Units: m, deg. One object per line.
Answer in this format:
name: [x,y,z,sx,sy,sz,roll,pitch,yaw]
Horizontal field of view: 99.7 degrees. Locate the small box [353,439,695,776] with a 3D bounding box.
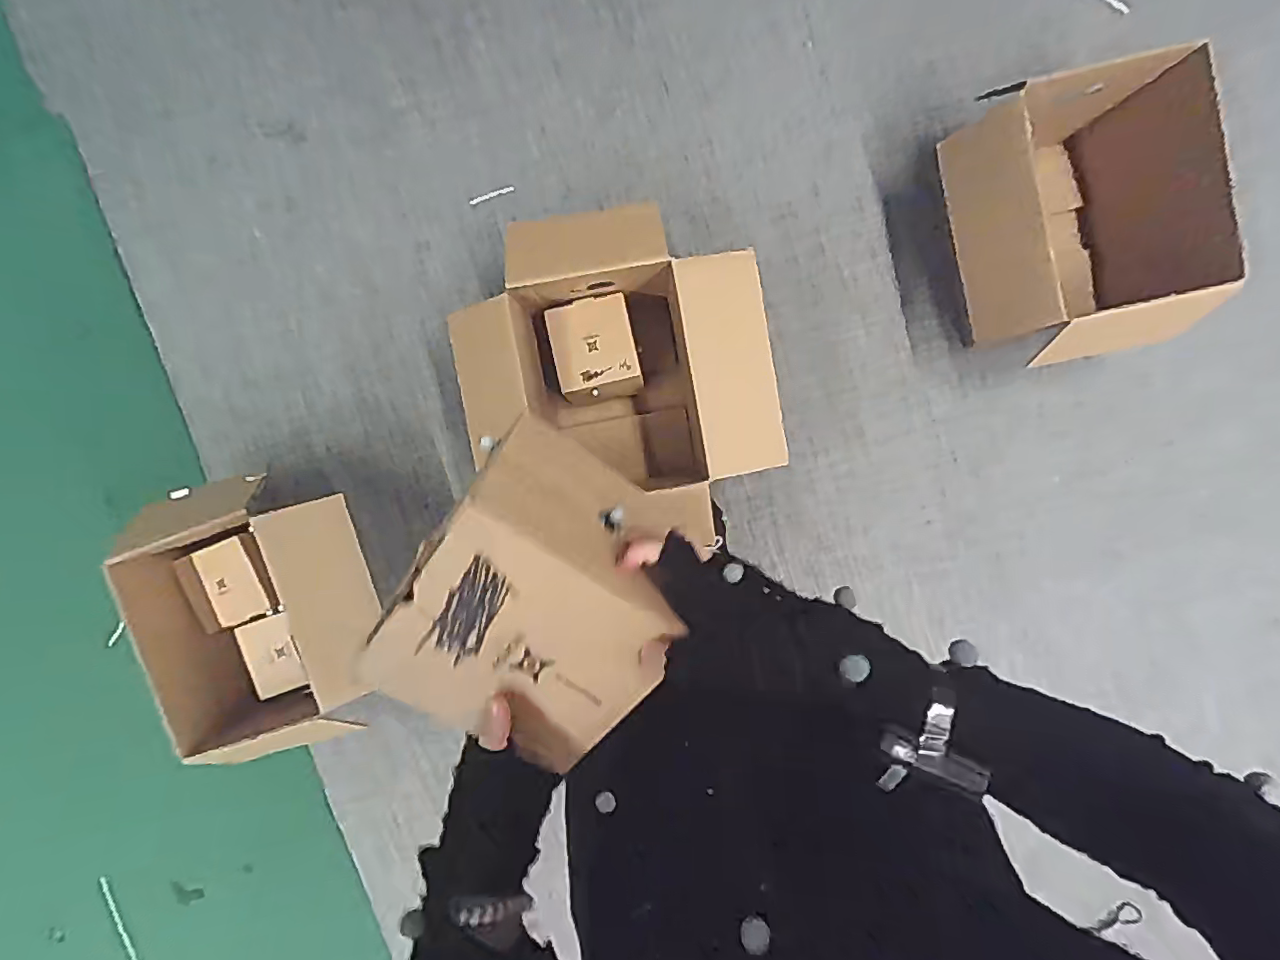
small box: [-0.080,0.087,0.435,0.179,0.176,0.168,34,110,-16]
